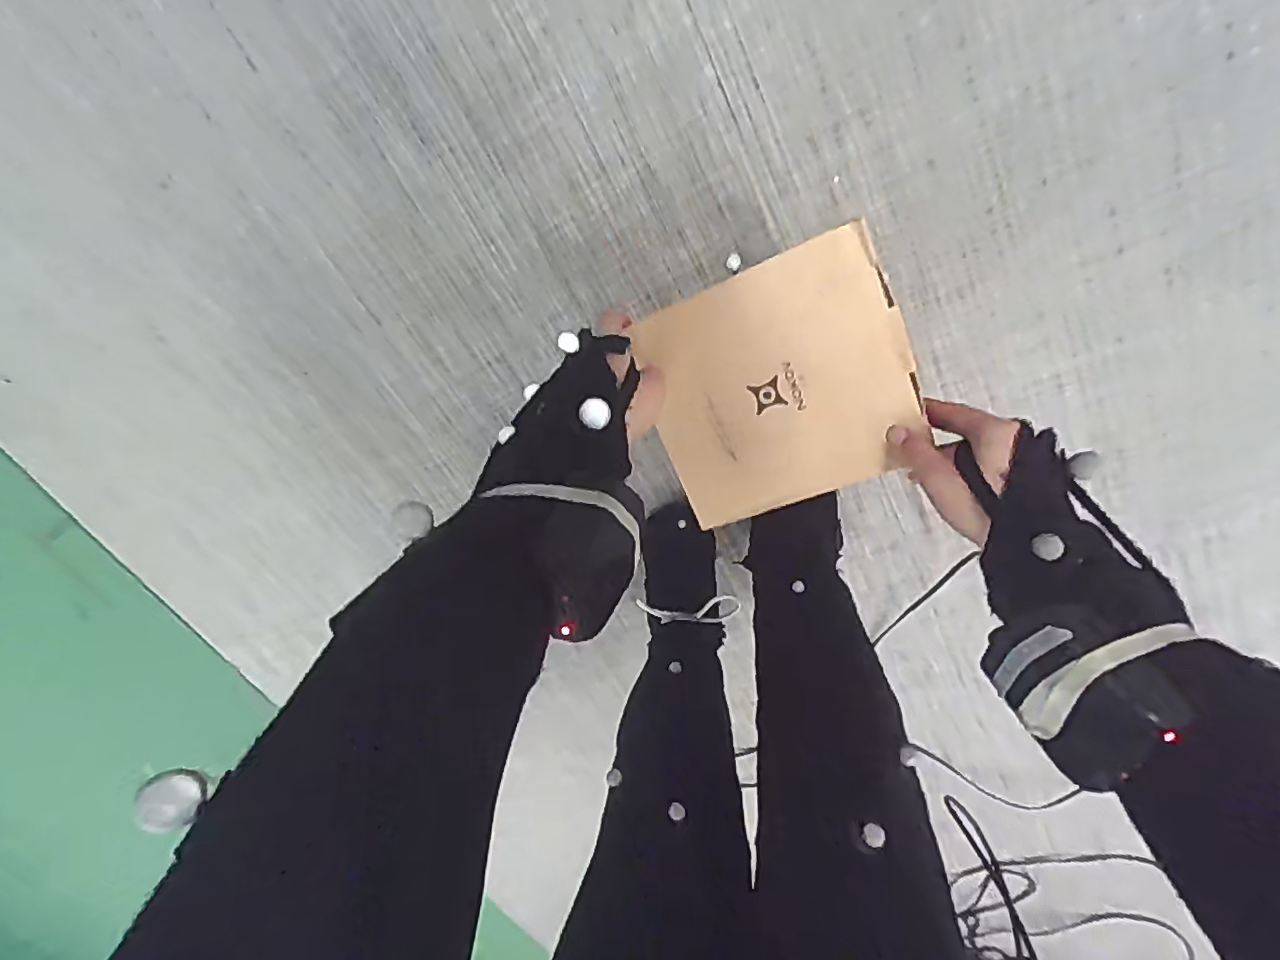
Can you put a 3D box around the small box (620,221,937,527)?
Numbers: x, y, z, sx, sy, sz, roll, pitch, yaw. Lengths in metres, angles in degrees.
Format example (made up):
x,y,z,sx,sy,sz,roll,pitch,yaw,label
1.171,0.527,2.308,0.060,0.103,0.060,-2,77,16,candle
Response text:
x,y,z,sx,sy,sz,roll,pitch,yaw,label
0.109,-0.089,0.448,0.179,0.176,0.168,-21,104,20,small box
